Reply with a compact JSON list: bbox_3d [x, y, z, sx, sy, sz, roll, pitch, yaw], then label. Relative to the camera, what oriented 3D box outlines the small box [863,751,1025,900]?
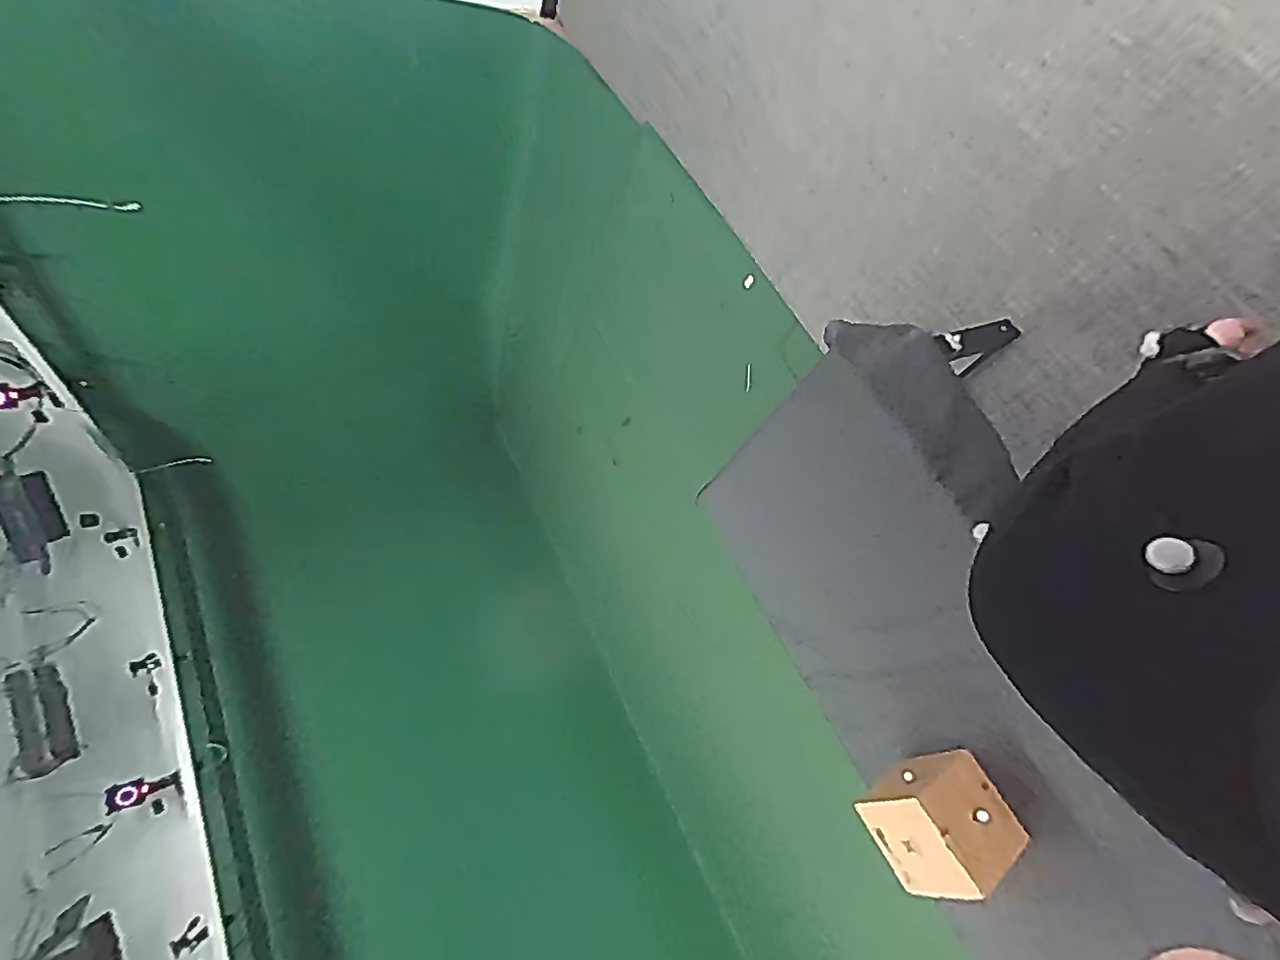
[{"bbox_3d":[0.560,0.627,0.991,0.168,0.176,0.179,57,146,23],"label":"small box"}]
